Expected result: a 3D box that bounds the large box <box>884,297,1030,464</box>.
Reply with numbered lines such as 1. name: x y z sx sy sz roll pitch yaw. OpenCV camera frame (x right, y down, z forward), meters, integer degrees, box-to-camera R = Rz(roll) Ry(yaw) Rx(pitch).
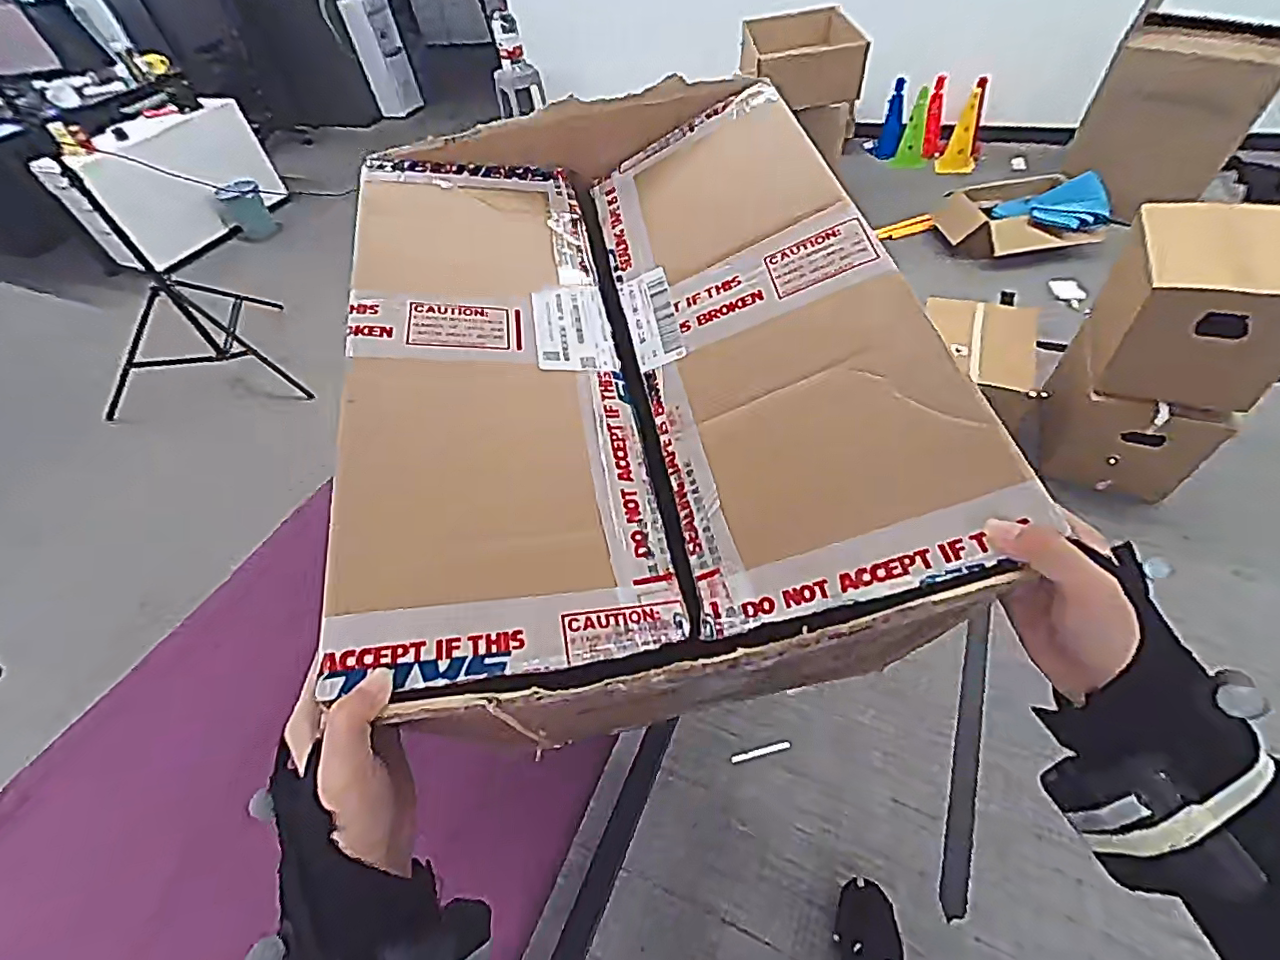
1. large box: 0.996 -0.321 1.719 0.320 0.320 0.408 14 55 19
